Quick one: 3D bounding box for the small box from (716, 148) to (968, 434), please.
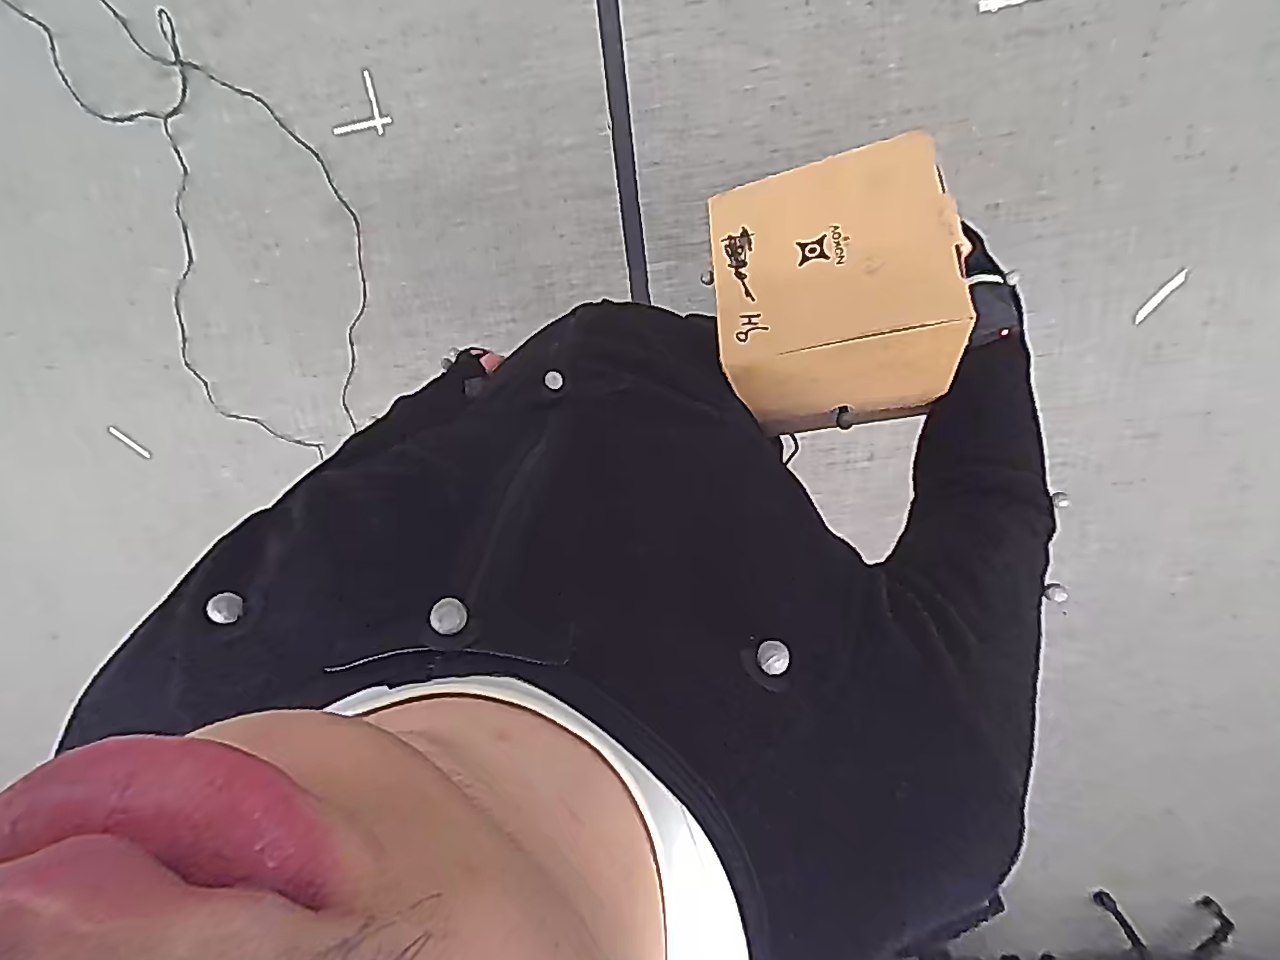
[{"bbox_3d":[0.175,-0.155,0.502,0.179,0.176,0.168,-7,71,19],"label":"small box"}]
